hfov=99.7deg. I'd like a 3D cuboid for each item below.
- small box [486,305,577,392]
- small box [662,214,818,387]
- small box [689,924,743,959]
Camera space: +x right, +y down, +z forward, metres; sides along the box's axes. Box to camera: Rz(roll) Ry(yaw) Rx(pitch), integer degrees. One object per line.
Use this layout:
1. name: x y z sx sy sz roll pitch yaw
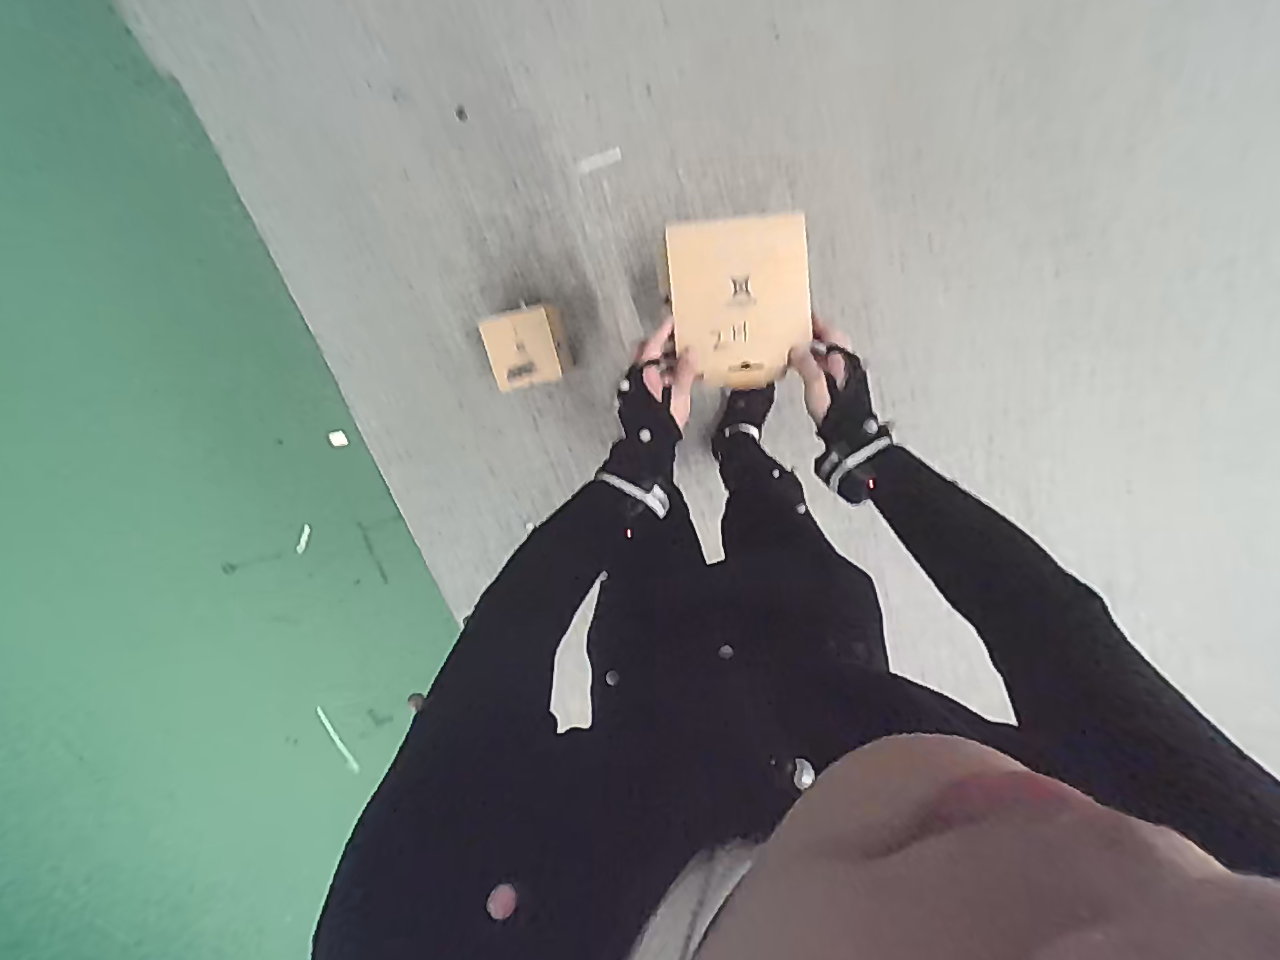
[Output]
1. small box: -0.267 -0.339 1.379 0.168 0.176 0.179 -11 108 6
2. small box: 0.121 -0.223 0.711 0.168 0.176 0.179 -5 96 0
3. small box: 0.271 1.715 1.902 0.168 0.176 0.179 -15 107 8
